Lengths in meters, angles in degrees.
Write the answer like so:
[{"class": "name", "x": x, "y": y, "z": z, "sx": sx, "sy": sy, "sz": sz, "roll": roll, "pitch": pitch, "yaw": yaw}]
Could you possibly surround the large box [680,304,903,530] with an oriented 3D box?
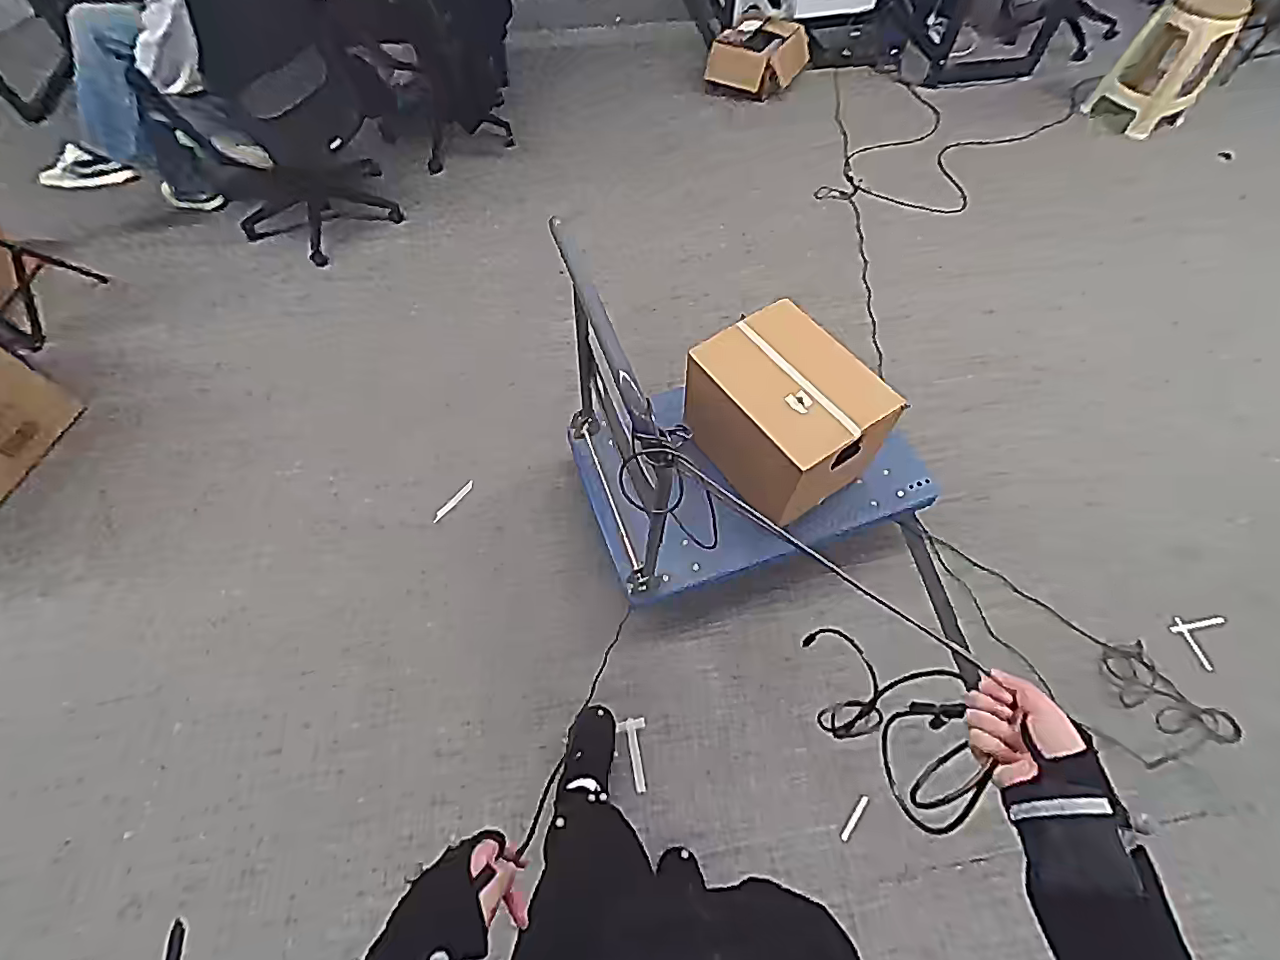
[{"class": "large box", "x": 0.344, "y": -0.155, "z": 1.357, "sx": 0.320, "sy": 0.320, "sz": 0.408, "roll": -31, "pitch": 65, "yaw": -15}]
